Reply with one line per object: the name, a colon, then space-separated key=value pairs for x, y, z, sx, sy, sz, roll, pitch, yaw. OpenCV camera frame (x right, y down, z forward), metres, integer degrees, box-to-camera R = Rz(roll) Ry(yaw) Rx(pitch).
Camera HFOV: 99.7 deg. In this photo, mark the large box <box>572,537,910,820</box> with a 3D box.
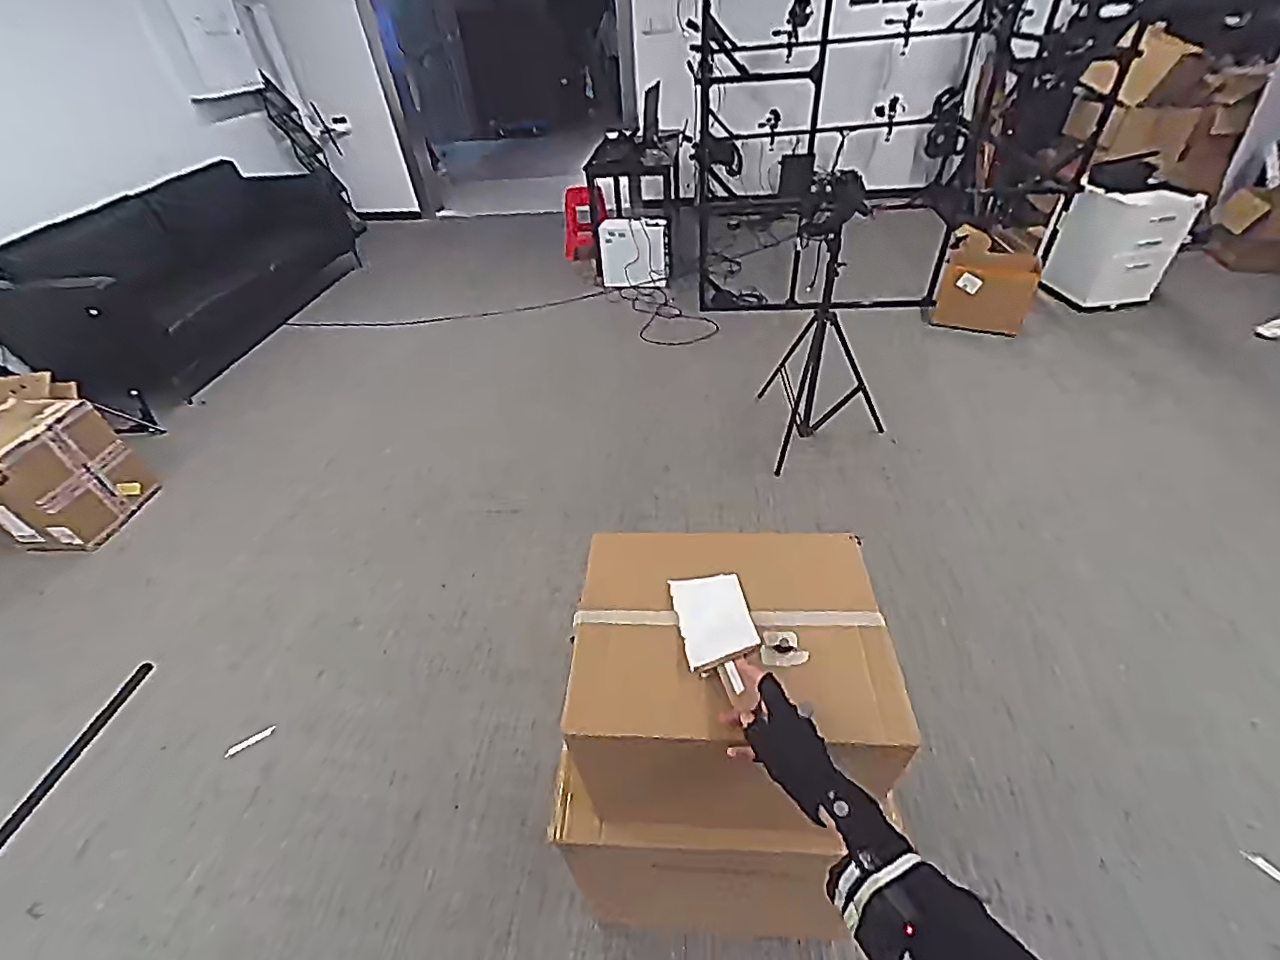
large box: x=0.127 y=0.304 z=0.839 sx=0.408 sy=0.320 sz=0.320 roll=0 pitch=42 yaw=4
